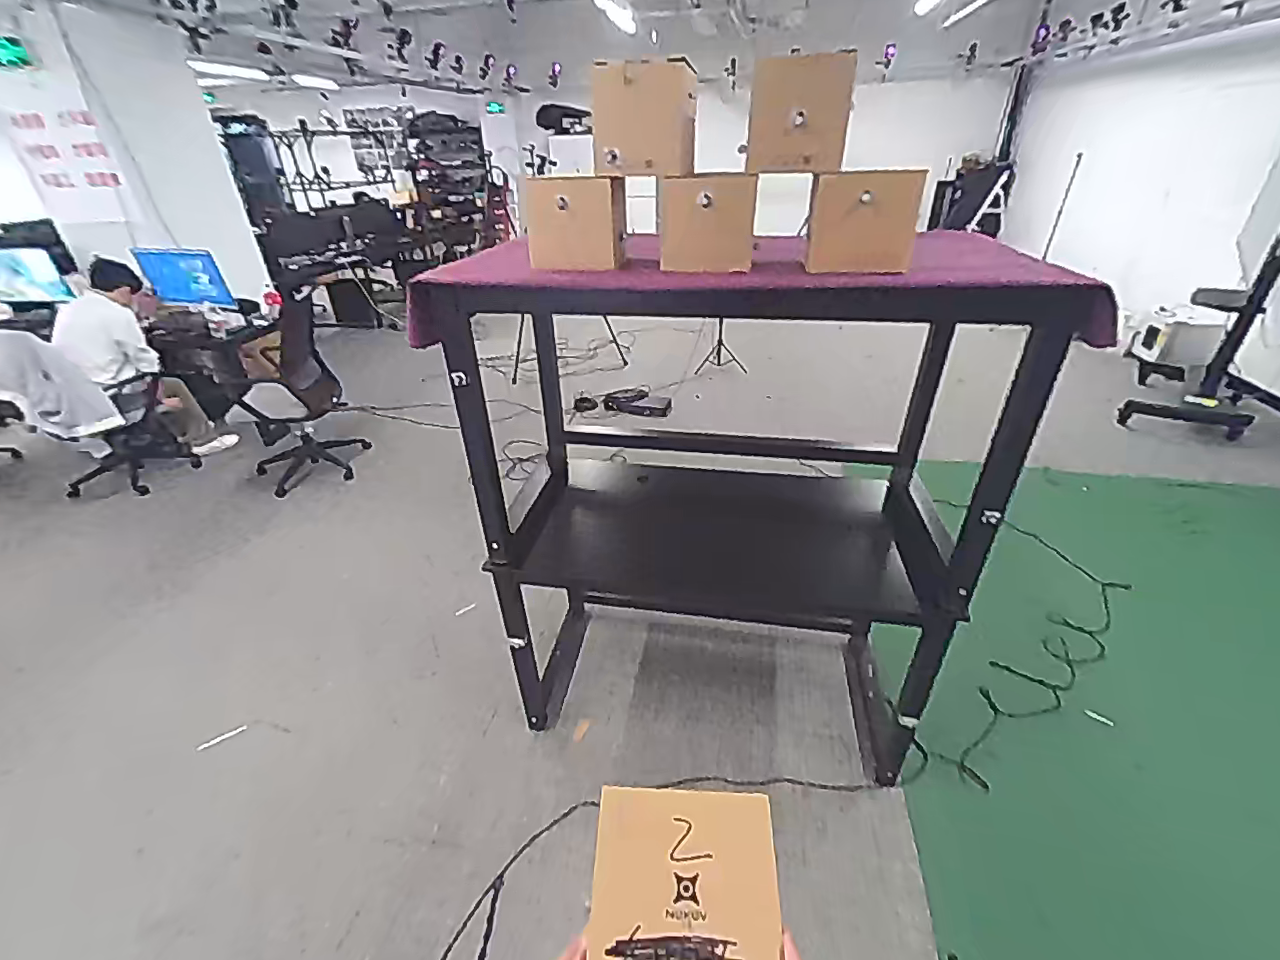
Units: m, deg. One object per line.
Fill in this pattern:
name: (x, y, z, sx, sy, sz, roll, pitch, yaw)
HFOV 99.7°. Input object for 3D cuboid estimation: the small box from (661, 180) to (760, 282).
small box: (0.141, -0.492, 1.066, 0.179, 0.176, 0.168, 4, 32, 10)

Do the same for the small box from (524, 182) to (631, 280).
small box: (-0.120, -0.516, 1.120, 0.179, 0.176, 0.168, 3, 32, 8)

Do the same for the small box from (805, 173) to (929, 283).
small box: (0.416, -0.475, 1.020, 0.179, 0.176, 0.168, 3, 31, 11)

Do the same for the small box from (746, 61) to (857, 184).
small box: (0.279, -0.628, 0.967, 0.168, 0.176, 0.179, 4, 32, 10)

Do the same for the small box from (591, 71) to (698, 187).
small box: (0.016, -0.649, 1.015, 0.168, 0.176, 0.179, 5, 31, 11)
